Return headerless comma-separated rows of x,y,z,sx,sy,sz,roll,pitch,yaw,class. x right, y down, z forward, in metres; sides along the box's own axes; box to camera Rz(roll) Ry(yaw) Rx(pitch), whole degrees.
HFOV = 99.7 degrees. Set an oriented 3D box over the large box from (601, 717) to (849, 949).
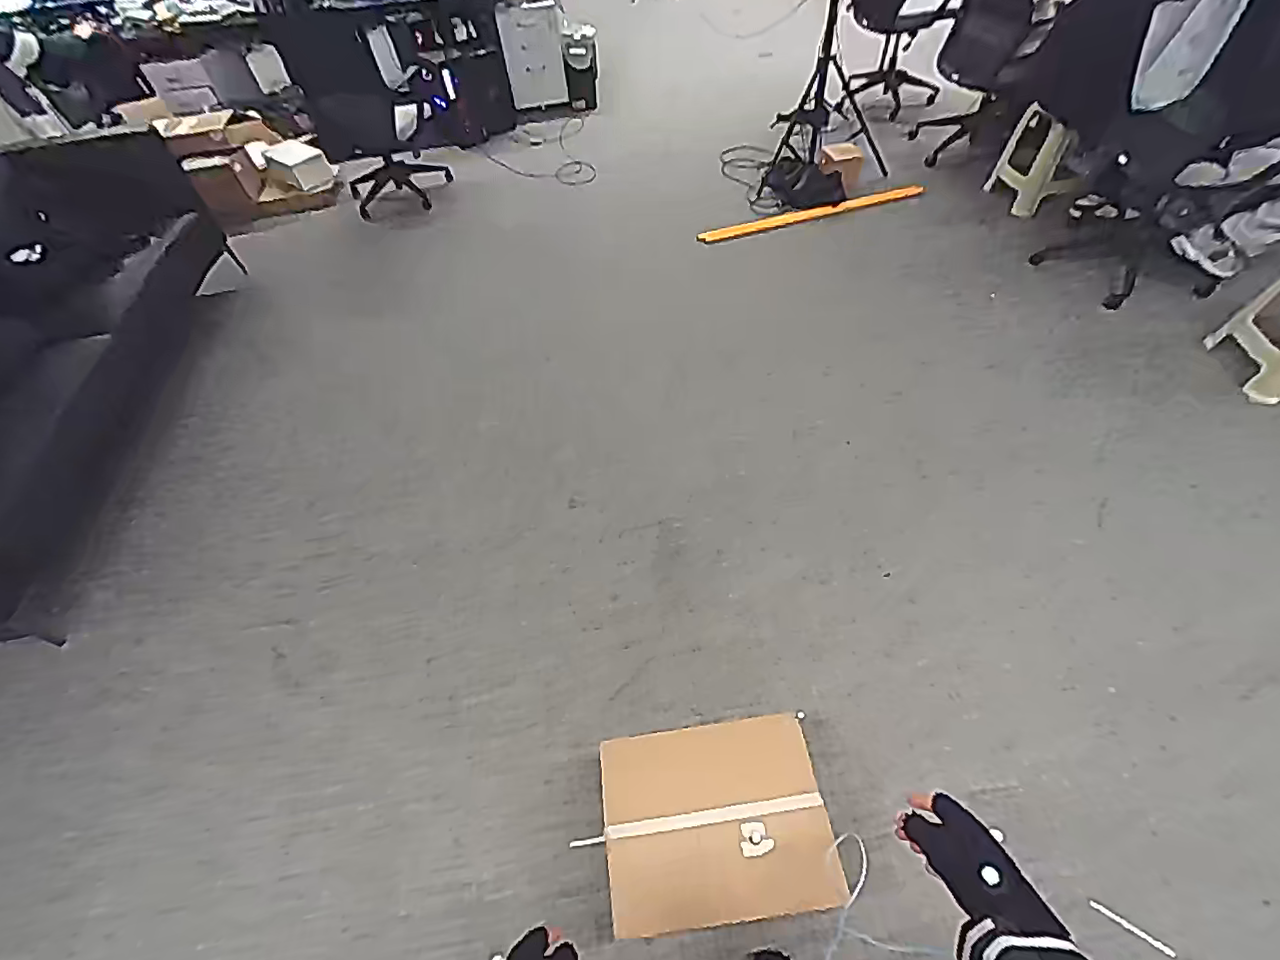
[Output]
0.148,0.720,1.106,0.408,0.320,0.320,-9,51,-1,large box
